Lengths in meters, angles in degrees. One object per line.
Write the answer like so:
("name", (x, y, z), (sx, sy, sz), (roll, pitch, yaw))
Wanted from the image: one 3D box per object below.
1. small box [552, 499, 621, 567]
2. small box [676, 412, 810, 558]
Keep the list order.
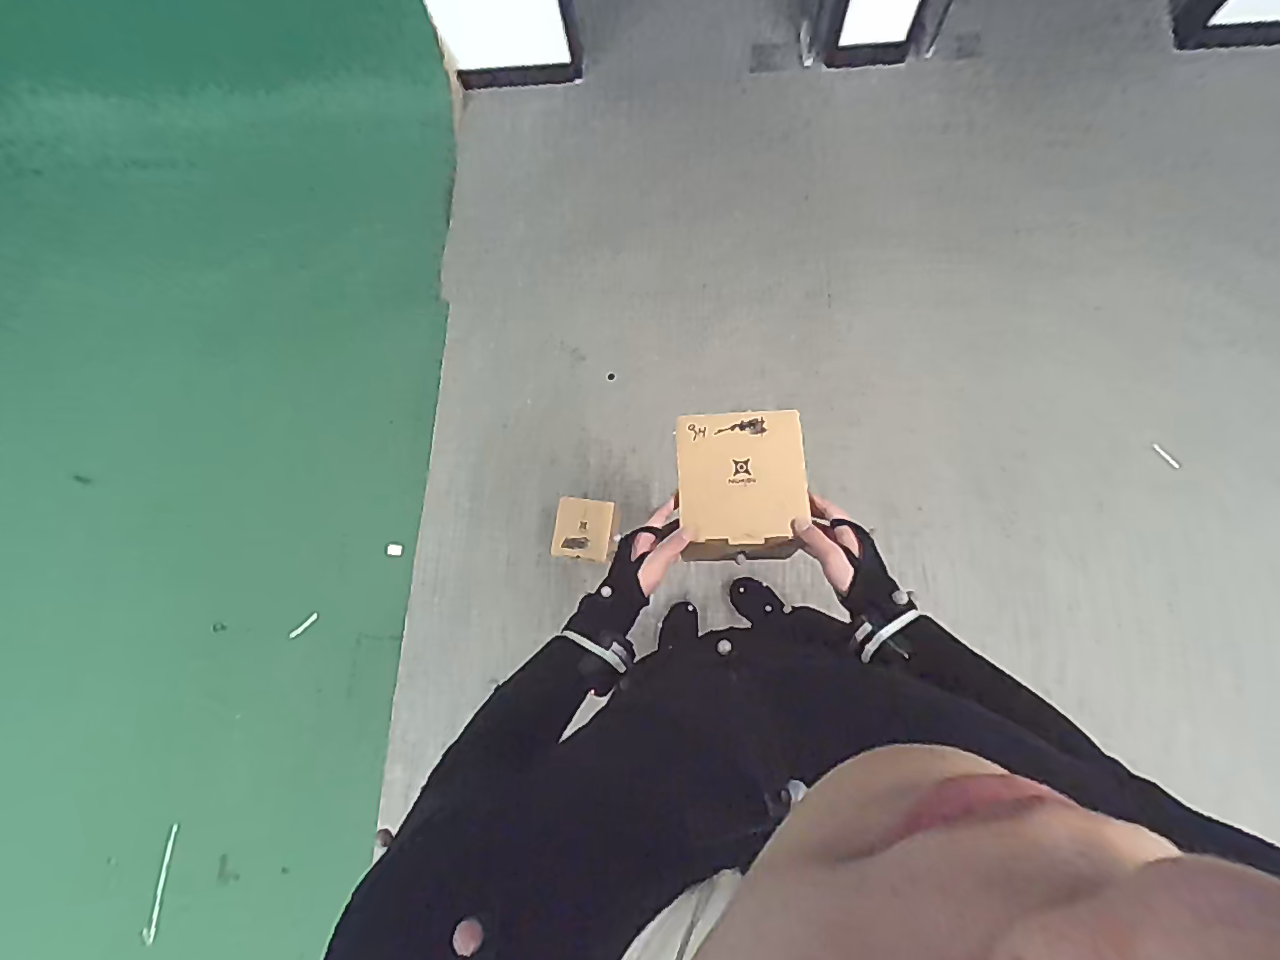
("small box", (-0.155, 0.167, 1.647), (0.168, 0.176, 0.179), (7, 78, 6))
("small box", (0.138, 0.018, 0.776), (0.168, 0.176, 0.179), (-3, 73, 4))
